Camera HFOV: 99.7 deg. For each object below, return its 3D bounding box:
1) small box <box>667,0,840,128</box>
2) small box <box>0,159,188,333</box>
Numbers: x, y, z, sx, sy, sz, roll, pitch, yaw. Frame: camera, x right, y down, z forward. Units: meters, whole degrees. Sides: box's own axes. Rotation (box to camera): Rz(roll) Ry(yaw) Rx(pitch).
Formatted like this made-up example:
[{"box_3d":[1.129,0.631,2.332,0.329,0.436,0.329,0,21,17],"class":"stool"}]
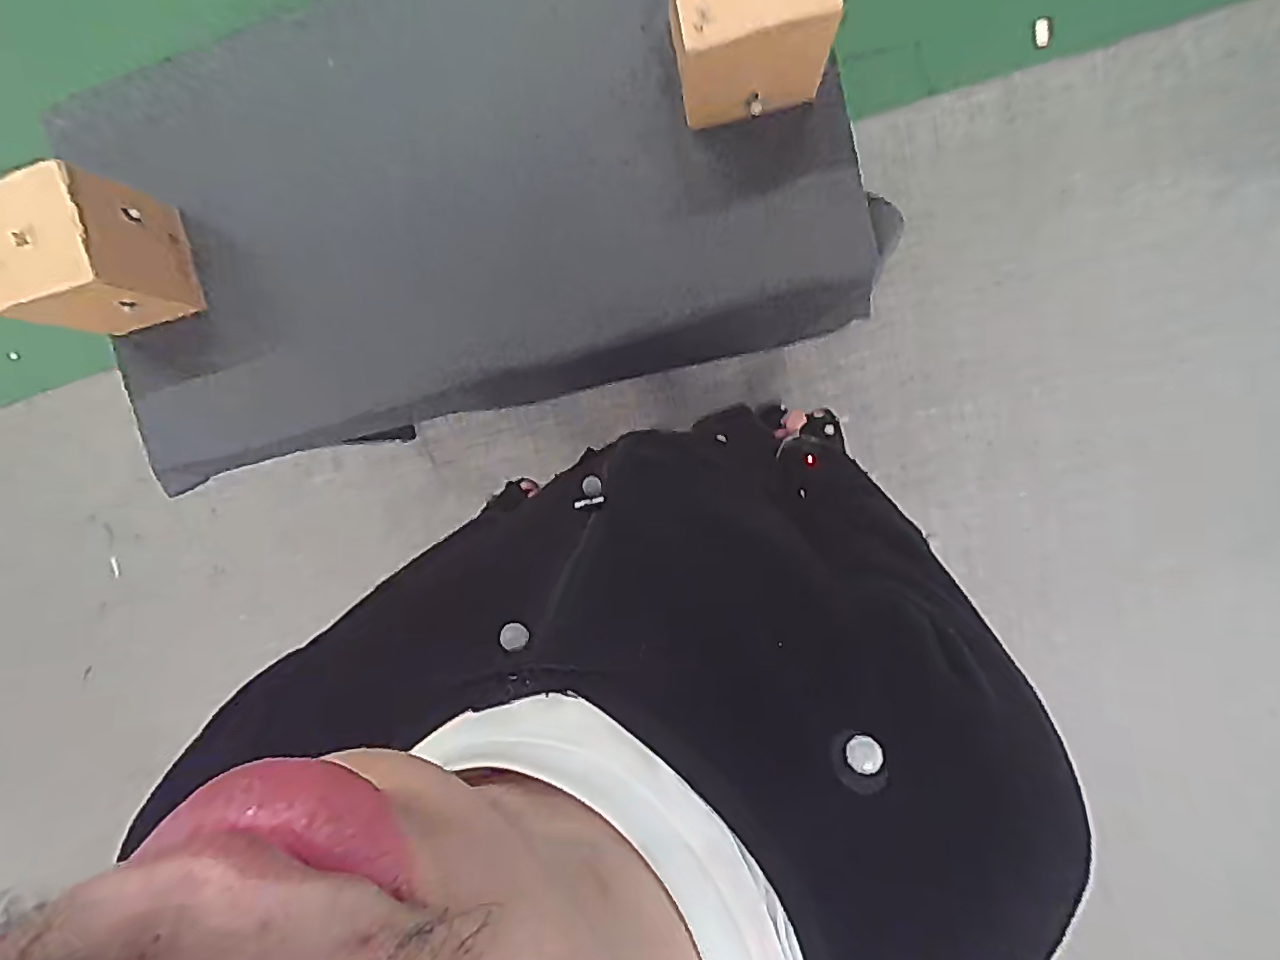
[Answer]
[{"box_3d":[0.128,-0.580,0.672,0.179,0.176,0.168,-10,96,7],"class":"small box"},{"box_3d":[-0.811,-0.326,0.788,0.179,0.176,0.168,-11,92,7],"class":"small box"}]
